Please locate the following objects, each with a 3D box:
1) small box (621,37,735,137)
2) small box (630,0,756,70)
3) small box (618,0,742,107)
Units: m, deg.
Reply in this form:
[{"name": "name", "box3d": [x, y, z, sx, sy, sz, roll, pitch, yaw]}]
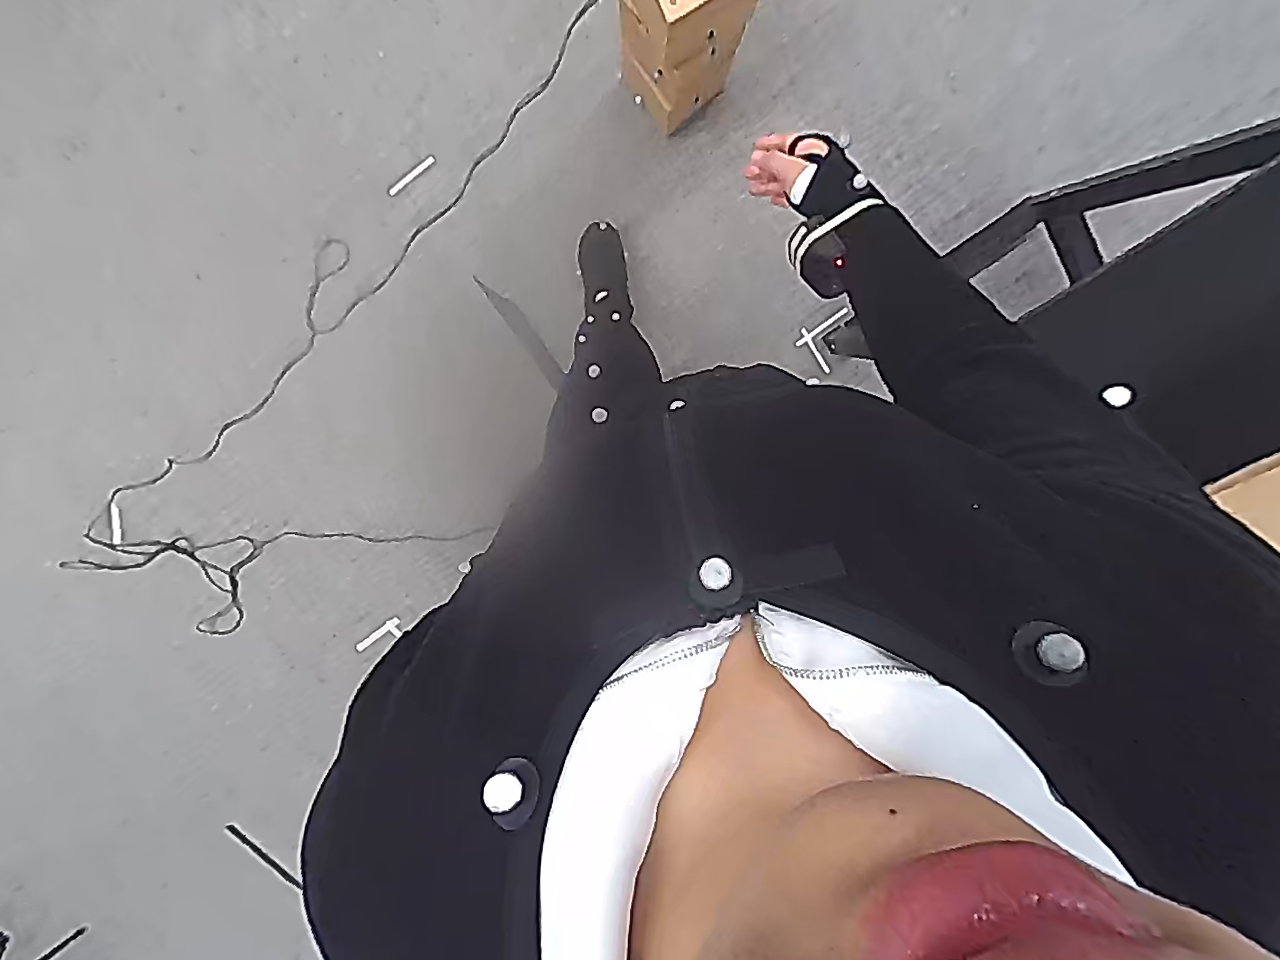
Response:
[{"name": "small box", "box3d": [0.076, -0.890, 1.164, 0.179, 0.176, 0.168, -37, 102, 11]}, {"name": "small box", "box3d": [0.080, -0.804, 0.850, 0.179, 0.176, 0.168, -27, 104, 6]}, {"name": "small box", "box3d": [0.079, -0.851, 1.007, 0.179, 0.176, 0.168, -41, 103, 9]}]
